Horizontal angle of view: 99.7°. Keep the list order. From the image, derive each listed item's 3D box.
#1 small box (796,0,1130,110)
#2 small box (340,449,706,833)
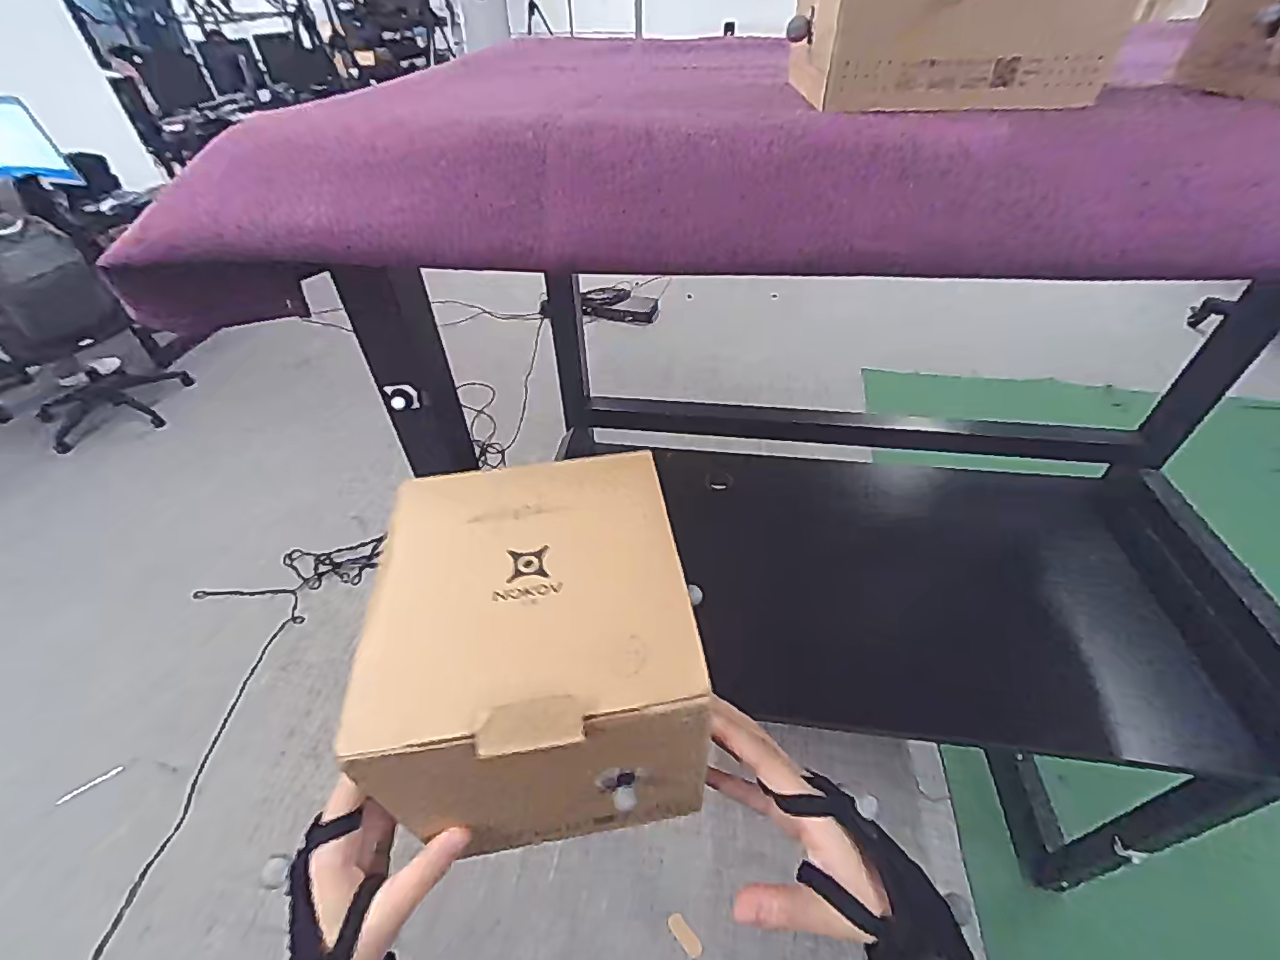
[{"bbox_3d":[0.205,-0.350,0.347,0.168,0.176,0.179,3,42,4],"label":"small box"},{"bbox_3d":[-0.058,0.104,0.350,0.168,0.176,0.179,-6,42,-6],"label":"small box"}]
